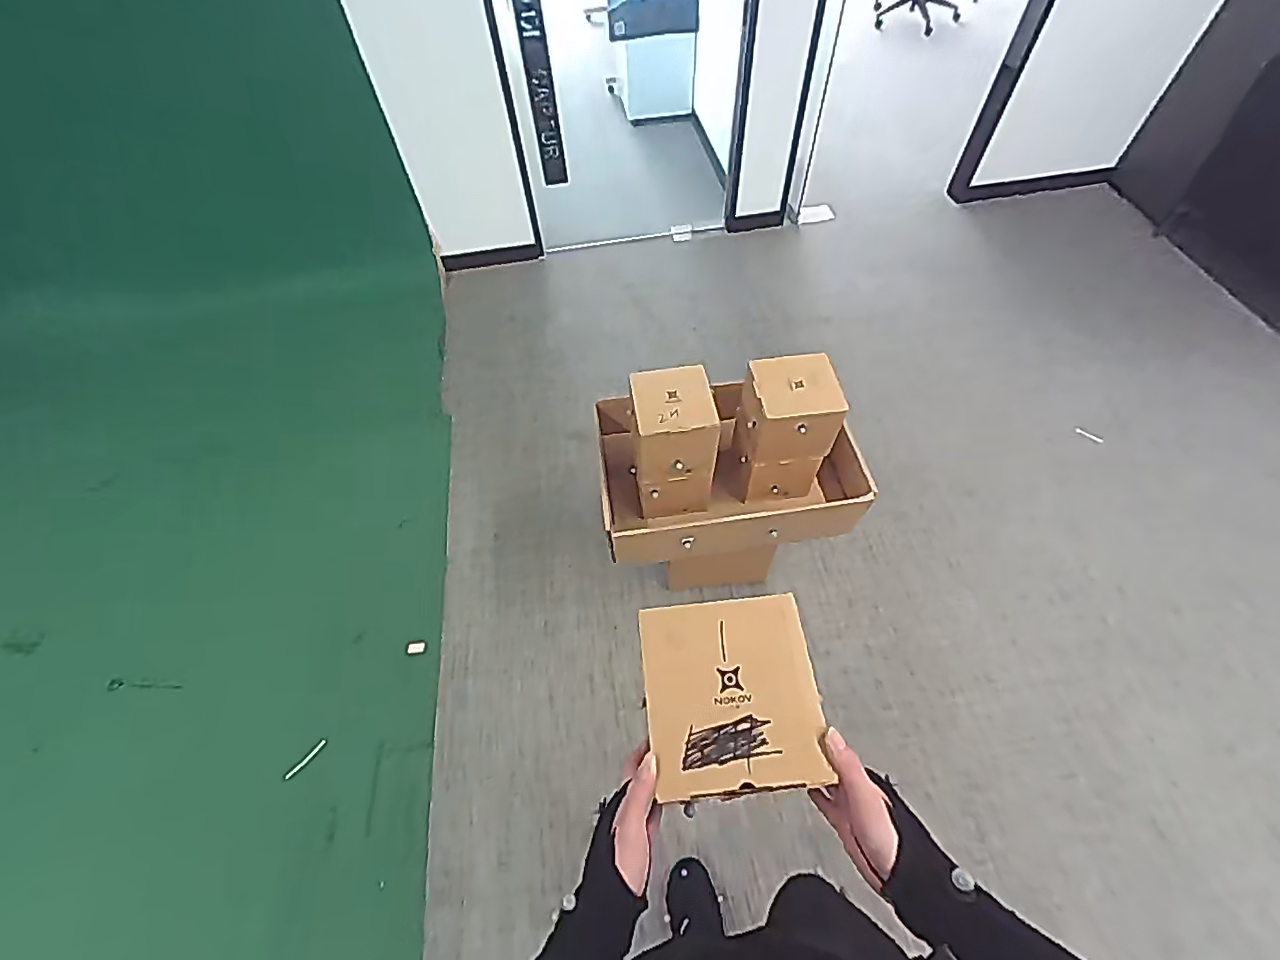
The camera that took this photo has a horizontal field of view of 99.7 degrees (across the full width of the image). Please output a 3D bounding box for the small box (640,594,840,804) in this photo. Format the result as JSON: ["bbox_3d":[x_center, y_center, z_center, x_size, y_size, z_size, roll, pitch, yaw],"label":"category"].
[{"bbox_3d":[0.092,0.239,0.579,0.168,0.176,0.179,-5,57,-1],"label":"small box"}]

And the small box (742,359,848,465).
[{"bbox_3d":[0.330,-0.146,1.200,0.179,0.176,0.168,-5,57,-3],"label":"small box"}]

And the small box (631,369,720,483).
[{"bbox_3d":[0.070,-0.117,1.182,0.168,0.176,0.179,-7,56,-3],"label":"small box"}]
